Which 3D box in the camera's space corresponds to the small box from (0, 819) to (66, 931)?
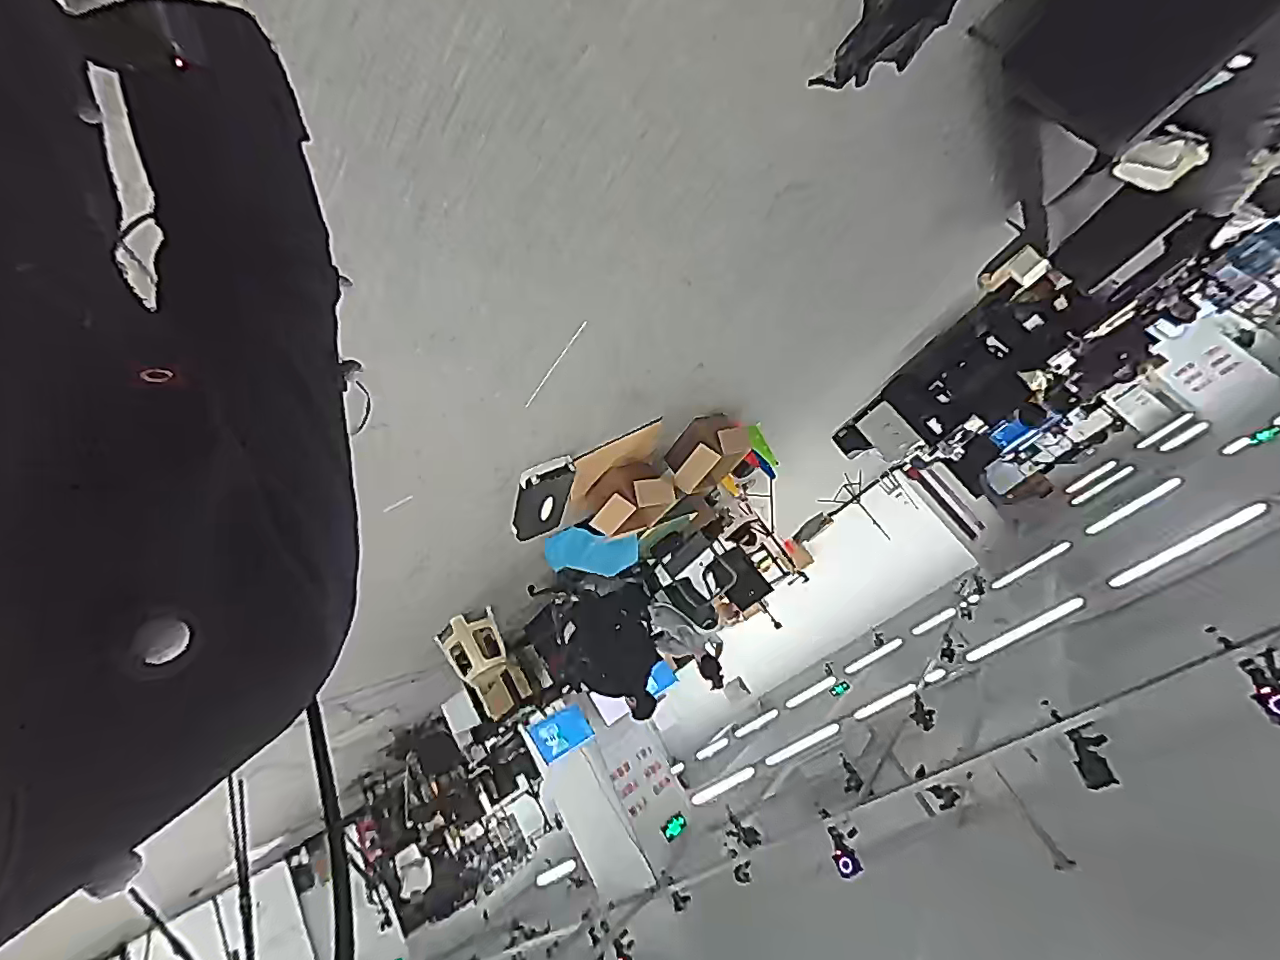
[{"bbox_3d":[-1.443,0.910,1.223,0.179,0.176,0.168,-6,147,-52],"label":"small box"}]
